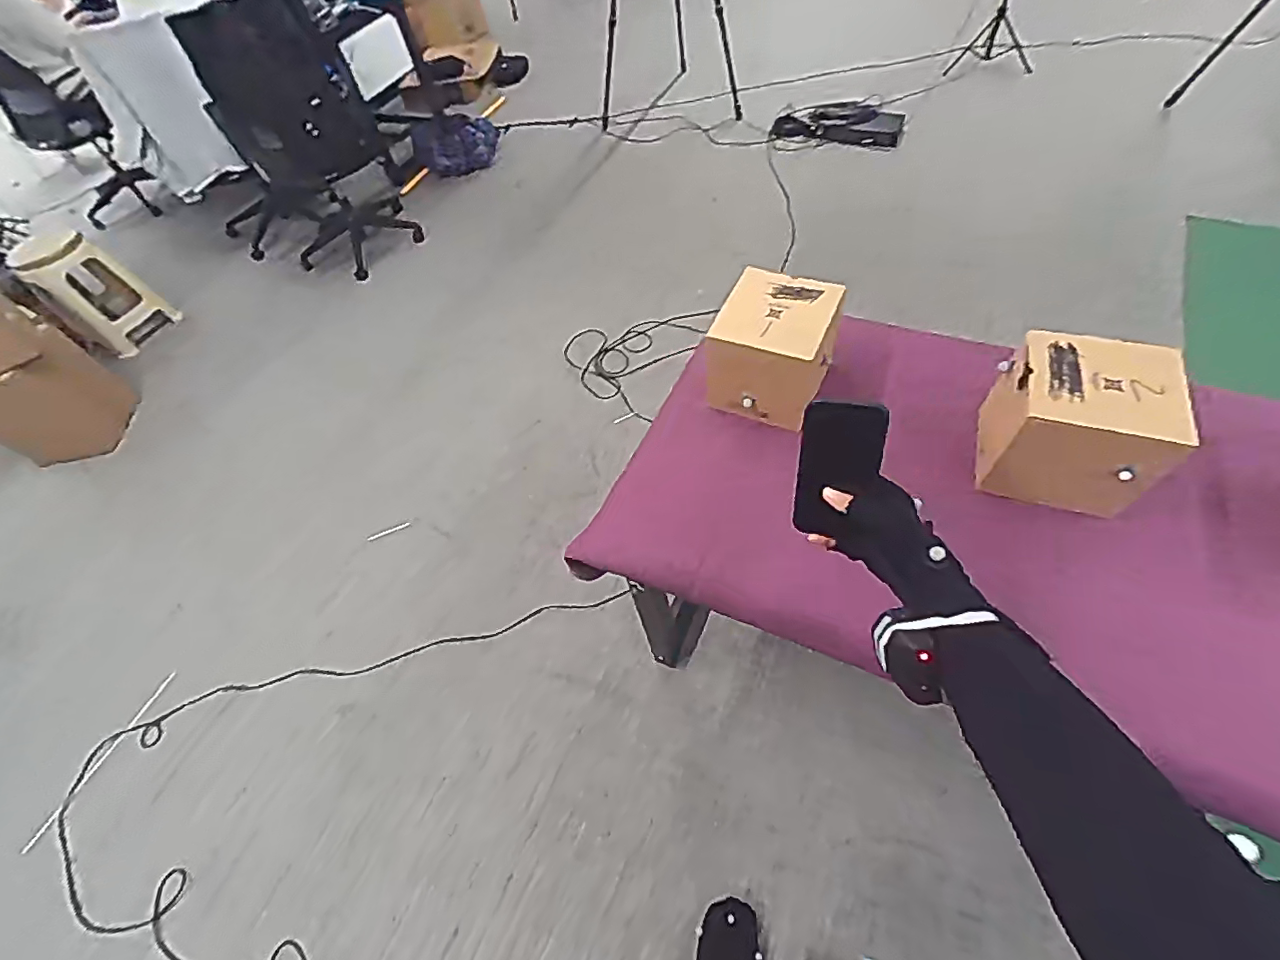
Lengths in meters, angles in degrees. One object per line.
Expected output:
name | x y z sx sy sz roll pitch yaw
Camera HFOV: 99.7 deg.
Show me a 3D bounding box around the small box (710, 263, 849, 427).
small box | 0.222 -0.220 0.889 0.168 0.176 0.179 20 63 20
